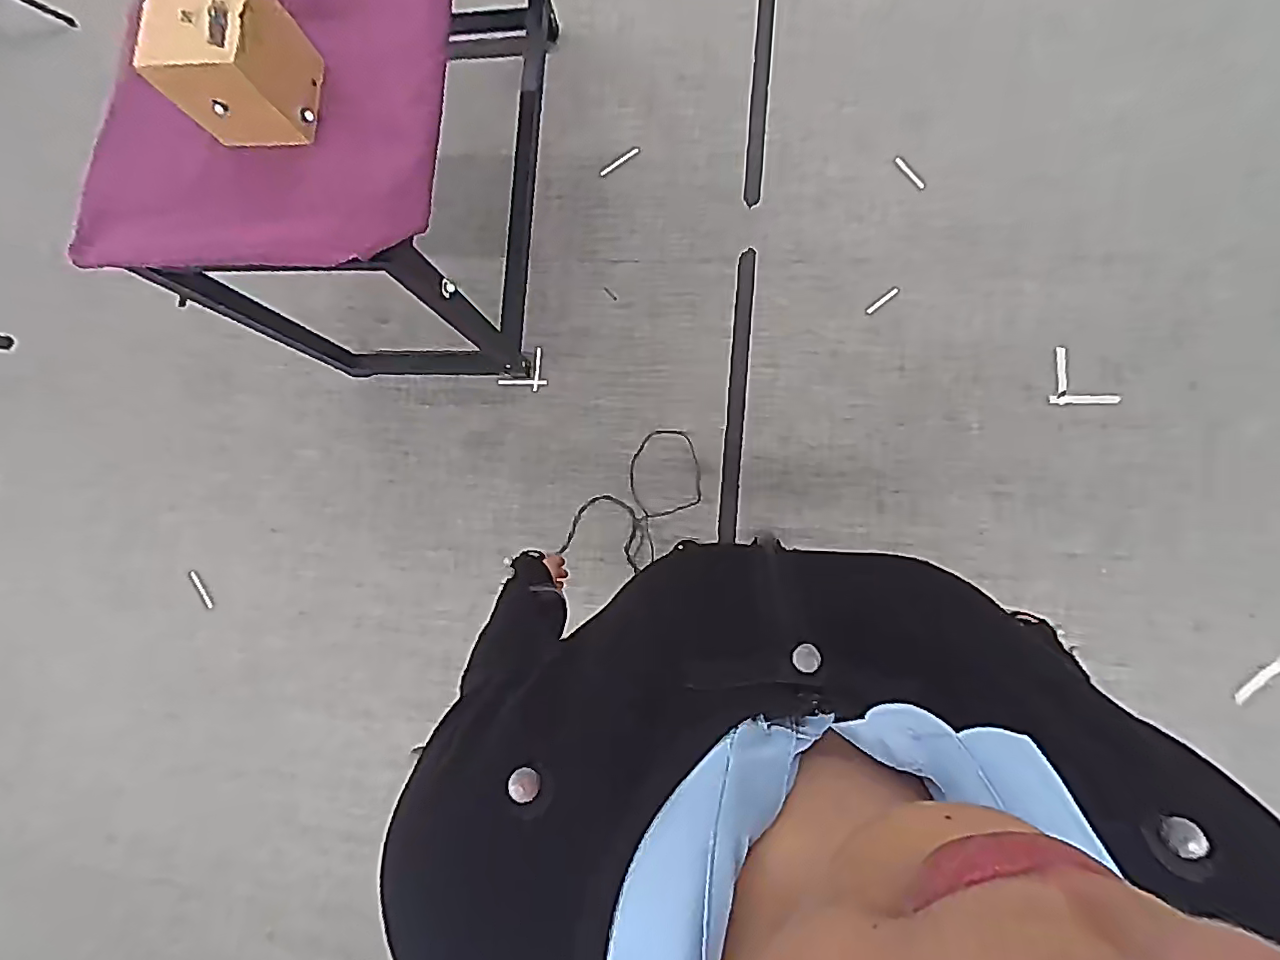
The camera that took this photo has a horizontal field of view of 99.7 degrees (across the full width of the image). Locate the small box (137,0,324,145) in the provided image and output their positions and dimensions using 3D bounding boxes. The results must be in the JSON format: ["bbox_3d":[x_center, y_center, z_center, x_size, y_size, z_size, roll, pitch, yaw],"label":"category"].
[{"bbox_3d":[-0.664,-0.688,0.897,0.179,0.176,0.168,3,83,7],"label":"small box"}]
